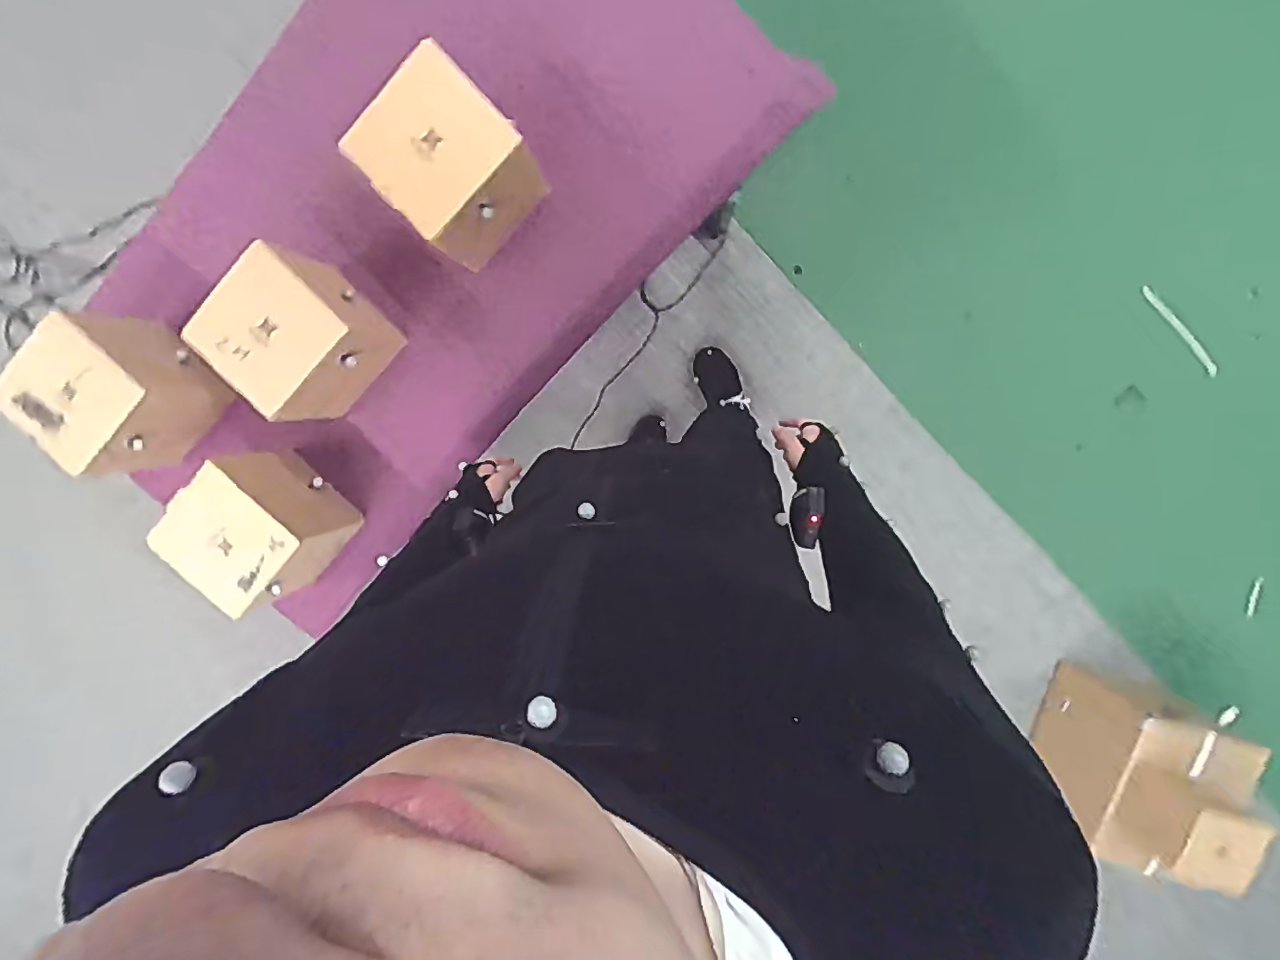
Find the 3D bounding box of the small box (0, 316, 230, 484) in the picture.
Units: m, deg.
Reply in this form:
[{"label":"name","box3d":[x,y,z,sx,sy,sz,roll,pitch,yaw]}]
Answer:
[{"label":"small box","box3d":[-0.791,-0.119,0.828,0.168,0.176,0.179,45,98,-5]}]

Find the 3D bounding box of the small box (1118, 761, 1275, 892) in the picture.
[{"label":"small box","box3d":[1.295,0.809,1.276,0.168,0.176,0.179,14,99,1]}]

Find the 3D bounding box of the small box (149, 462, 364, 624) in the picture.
[{"label":"small box","box3d":[-0.586,0.086,0.848,0.179,0.176,0.168,43,99,-2]}]

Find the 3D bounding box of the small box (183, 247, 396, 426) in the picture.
[{"label":"small box","box3d":[-0.495,-0.201,0.798,0.179,0.176,0.168,-44,94,9]}]

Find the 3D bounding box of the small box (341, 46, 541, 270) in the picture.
[{"label":"small box","box3d":[-0.257,-0.425,0.751,0.179,0.176,0.168,-44,95,10]}]
